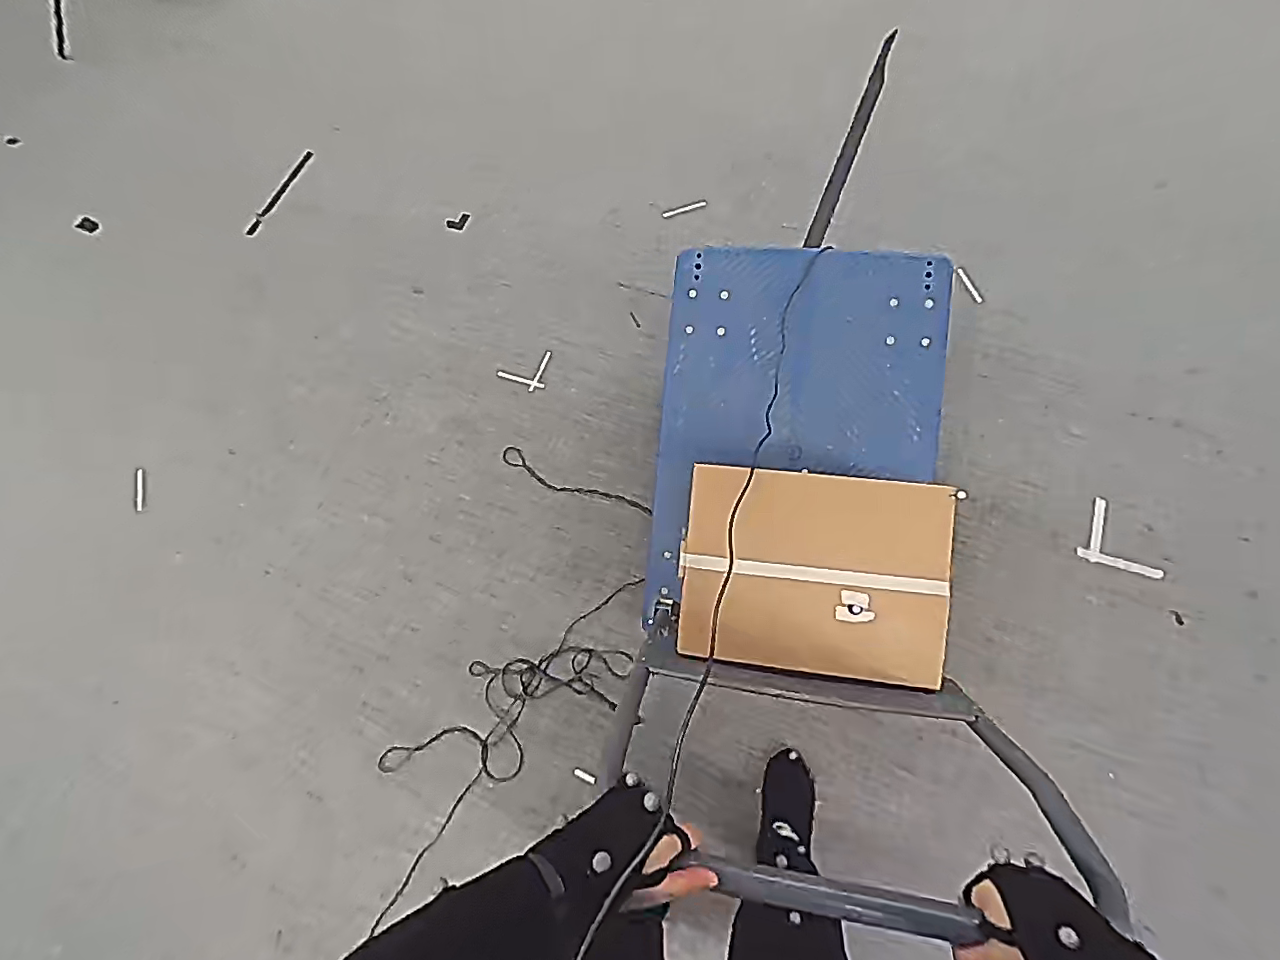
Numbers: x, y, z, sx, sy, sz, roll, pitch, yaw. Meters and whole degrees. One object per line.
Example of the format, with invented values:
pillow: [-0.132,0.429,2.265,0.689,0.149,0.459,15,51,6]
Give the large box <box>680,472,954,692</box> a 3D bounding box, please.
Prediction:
large box: [0.289,0.162,0.995,0.408,0.320,0.320,5,89,8]
